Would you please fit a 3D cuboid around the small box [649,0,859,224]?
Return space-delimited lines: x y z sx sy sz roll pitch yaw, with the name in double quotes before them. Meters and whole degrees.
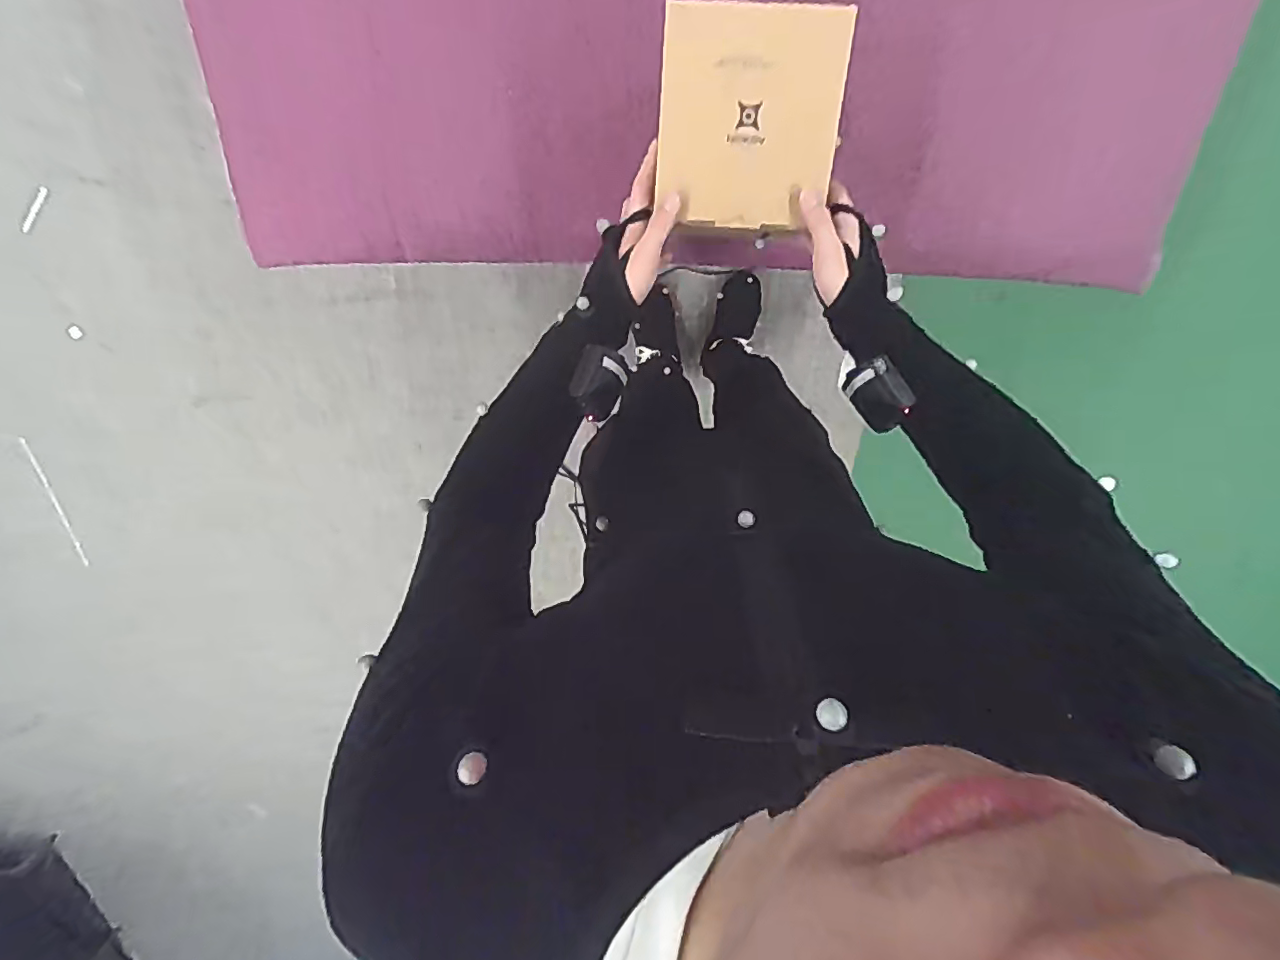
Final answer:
"small box" 0.102 -0.368 0.558 0.168 0.176 0.179 5 111 2
